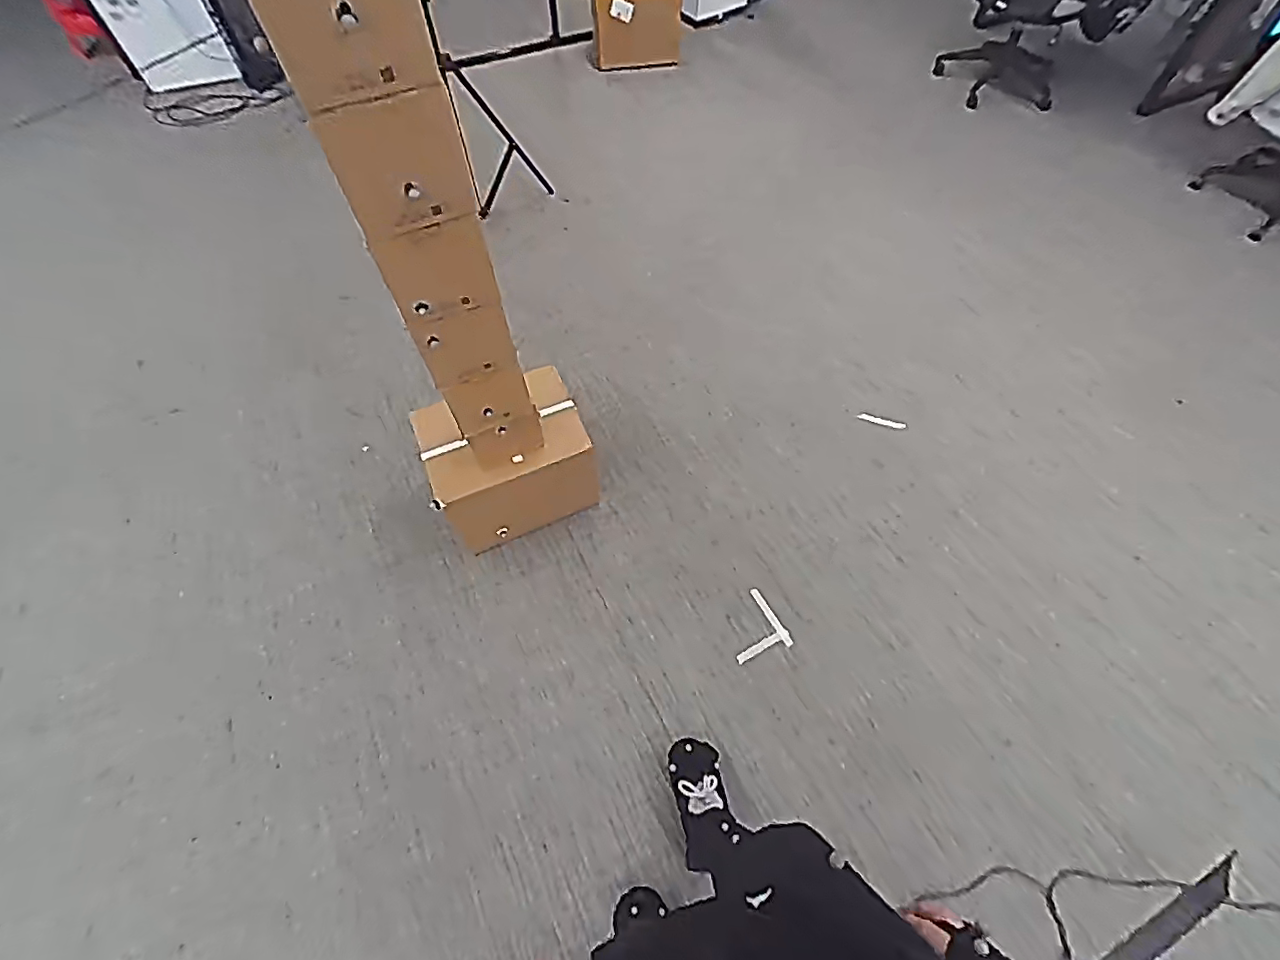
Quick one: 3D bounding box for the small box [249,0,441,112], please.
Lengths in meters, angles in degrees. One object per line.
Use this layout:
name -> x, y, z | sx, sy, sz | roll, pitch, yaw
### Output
small box -> -0.347, -0.548, 0.609 | 0.168, 0.176, 0.179 | -25, 65, -14

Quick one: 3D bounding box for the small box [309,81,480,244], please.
small box -> -0.343, -0.465, 0.751 | 0.168, 0.176, 0.179 | -24, 64, -13

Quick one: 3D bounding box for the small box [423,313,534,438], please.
small box -> -0.347, -0.224, 1.180 | 0.168, 0.176, 0.179 | -24, 64, -13

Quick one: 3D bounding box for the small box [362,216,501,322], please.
small box -> -0.344, -0.385, 0.894 | 0.168, 0.176, 0.179 | -21, 62, -12

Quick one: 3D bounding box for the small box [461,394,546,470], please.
small box -> -0.346, -0.150, 1.325 | 0.179, 0.176, 0.168 | -24, 63, -14
